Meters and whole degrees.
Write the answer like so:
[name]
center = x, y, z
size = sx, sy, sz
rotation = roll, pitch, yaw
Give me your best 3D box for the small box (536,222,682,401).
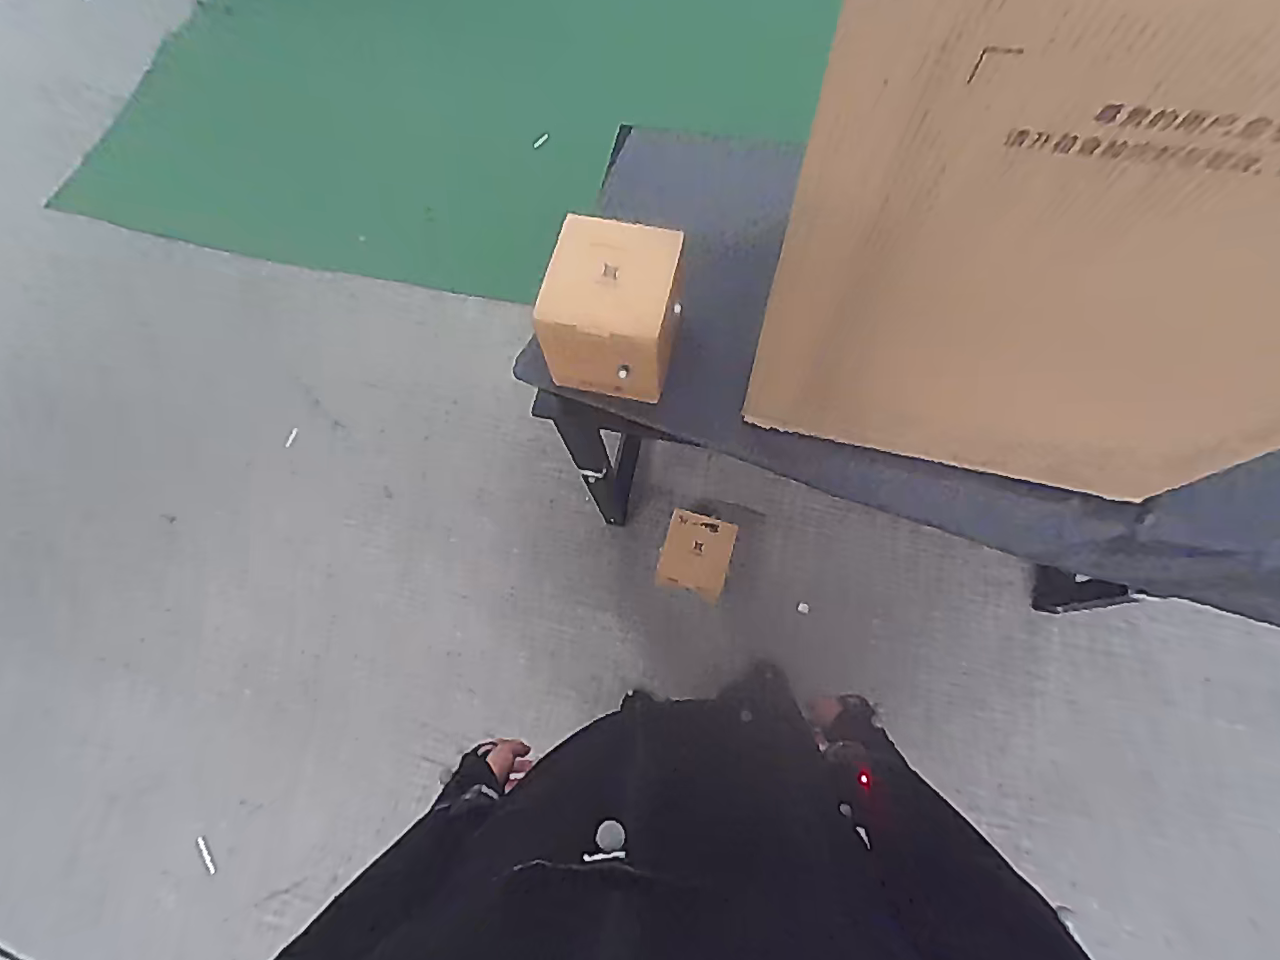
[small box]
center = -0.036, -0.237, 0.790
size = 0.168, 0.176, 0.179
rotation = 11, 69, 5
